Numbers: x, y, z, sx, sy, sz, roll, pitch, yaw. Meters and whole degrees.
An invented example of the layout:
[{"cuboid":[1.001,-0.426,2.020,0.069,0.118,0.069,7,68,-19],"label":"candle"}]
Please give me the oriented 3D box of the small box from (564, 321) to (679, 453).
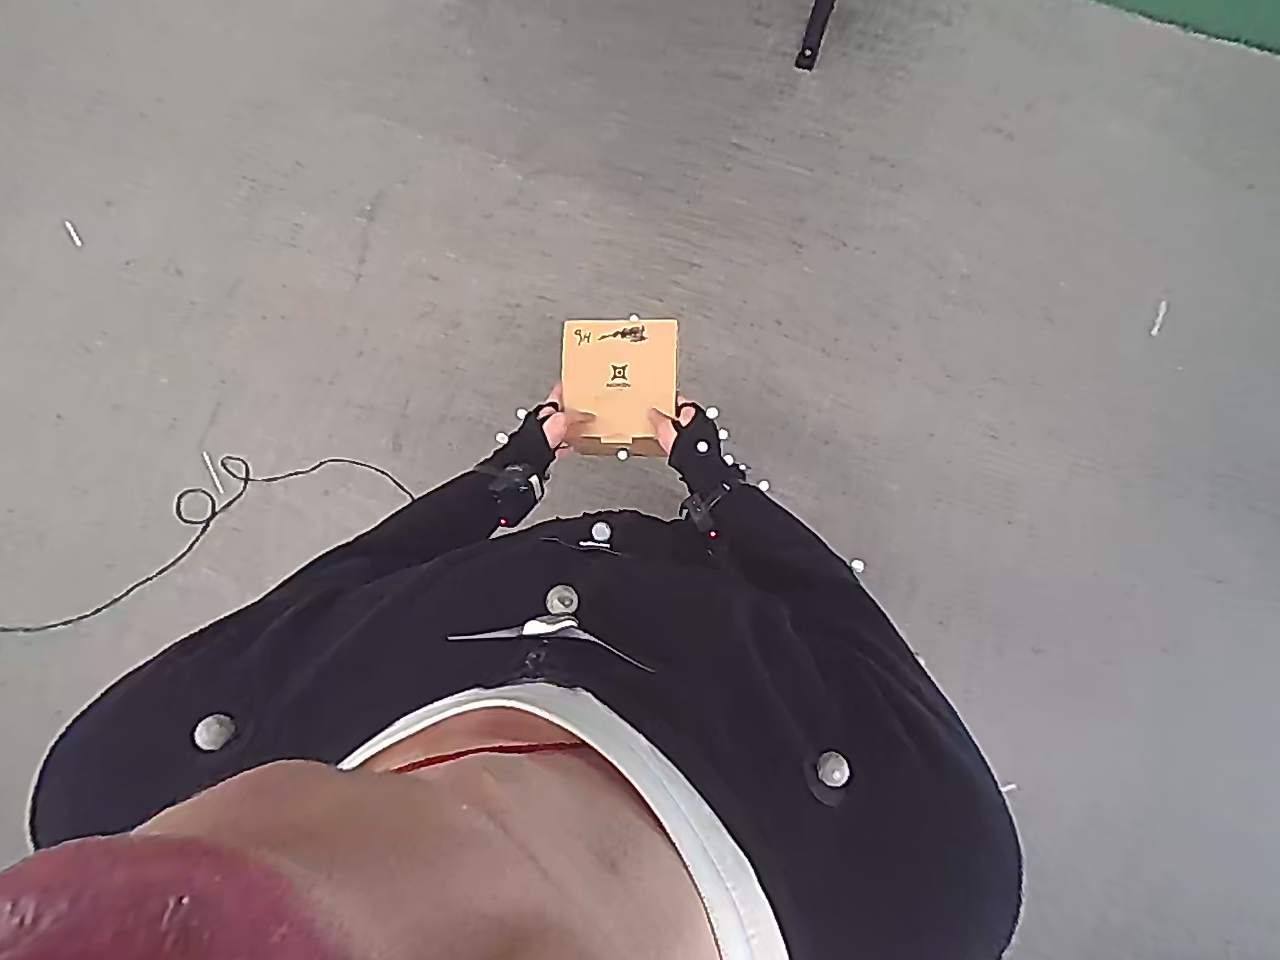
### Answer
[{"cuboid":[-0.022,-0.138,0.867,0.168,0.176,0.179,-3,85,4],"label":"small box"}]
